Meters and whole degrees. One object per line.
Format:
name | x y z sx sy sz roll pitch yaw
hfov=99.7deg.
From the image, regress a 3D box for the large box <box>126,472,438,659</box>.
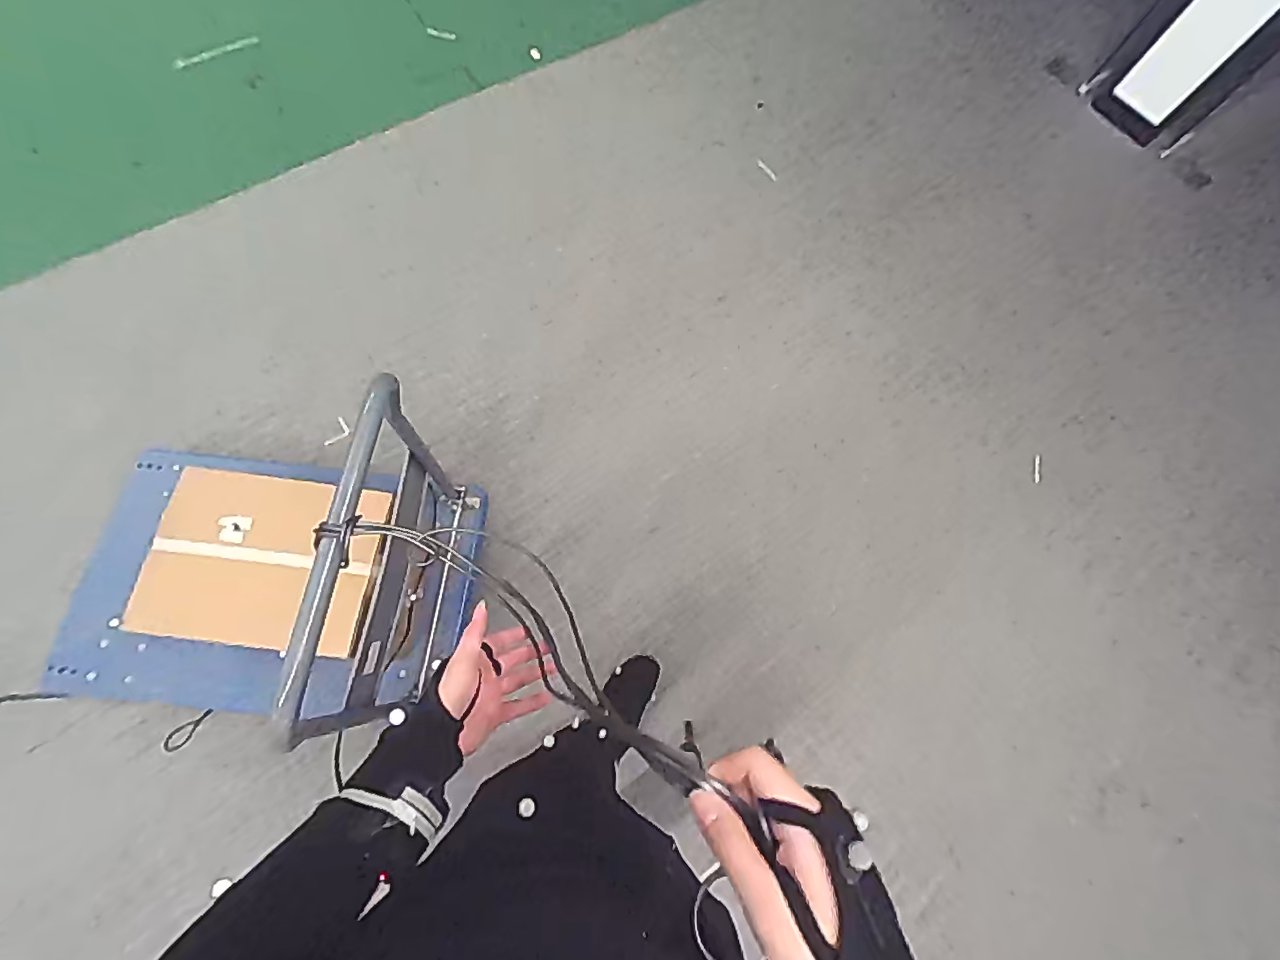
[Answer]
large box | -0.692 0.194 1.133 0.408 0.320 0.320 7 71 -1
